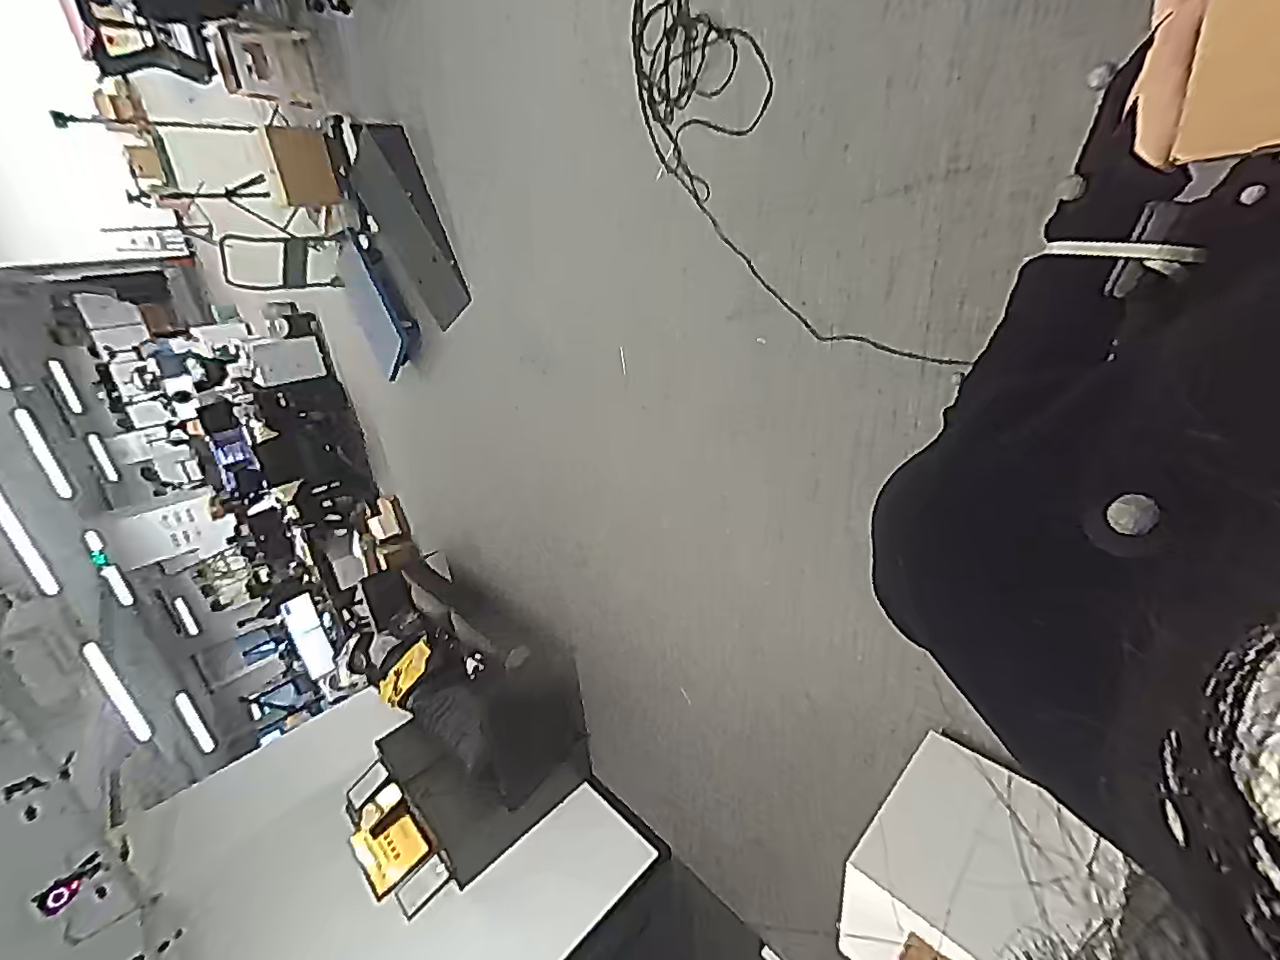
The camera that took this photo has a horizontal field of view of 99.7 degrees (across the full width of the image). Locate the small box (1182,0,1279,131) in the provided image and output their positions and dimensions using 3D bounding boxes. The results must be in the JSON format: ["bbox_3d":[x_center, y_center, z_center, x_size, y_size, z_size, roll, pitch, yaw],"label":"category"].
[{"bbox_3d":[0.374,-0.269,0.229,0.168,0.176,0.179,17,123,45],"label":"small box"}]
